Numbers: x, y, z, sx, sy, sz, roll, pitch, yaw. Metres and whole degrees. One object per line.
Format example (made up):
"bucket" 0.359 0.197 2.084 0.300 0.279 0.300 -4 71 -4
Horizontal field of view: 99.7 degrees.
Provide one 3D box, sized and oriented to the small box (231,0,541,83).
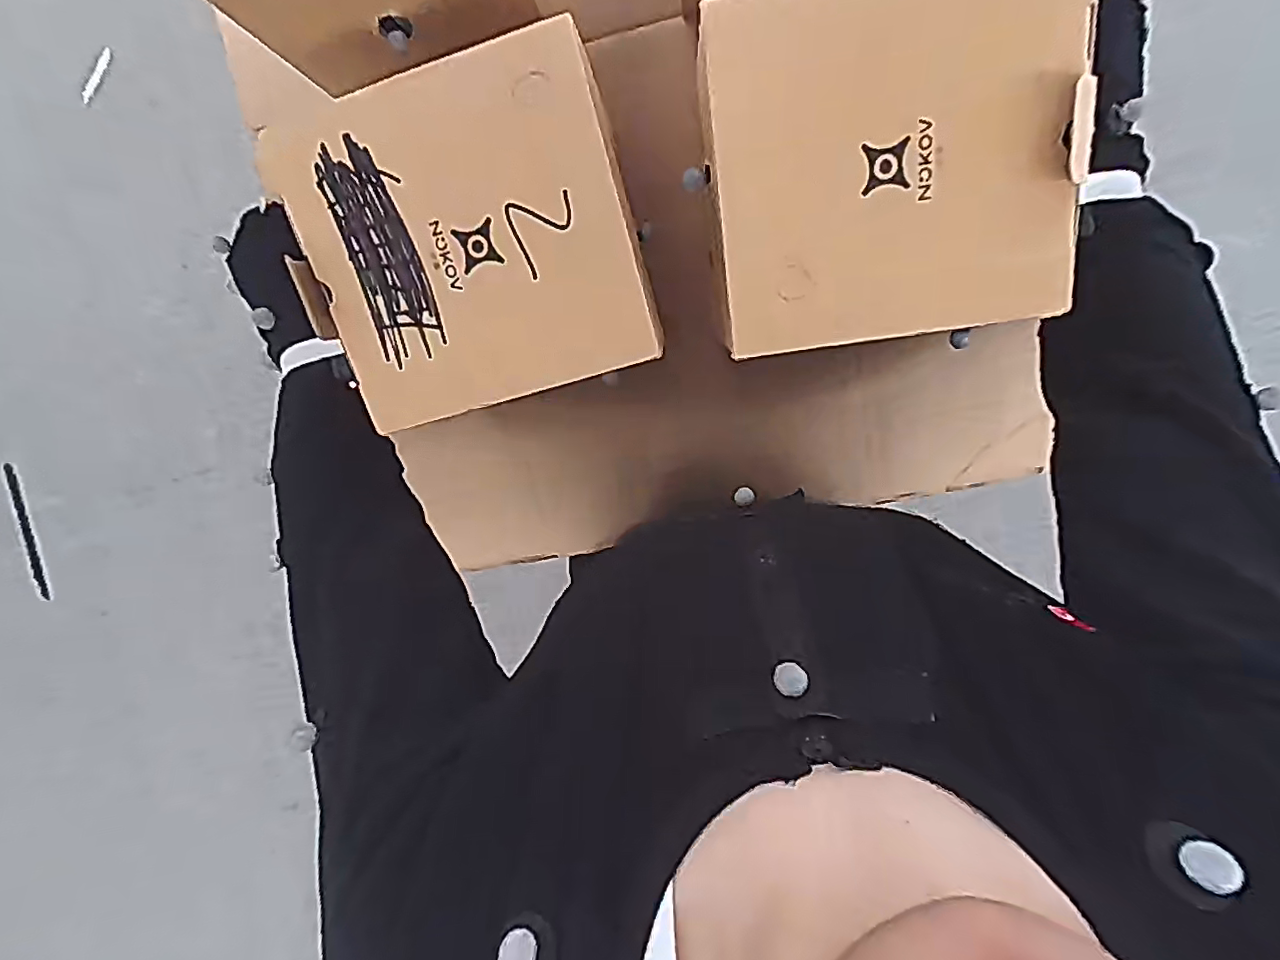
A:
"small box" -0.172 -0.376 0.320 0.168 0.176 0.179 -11 100 7
